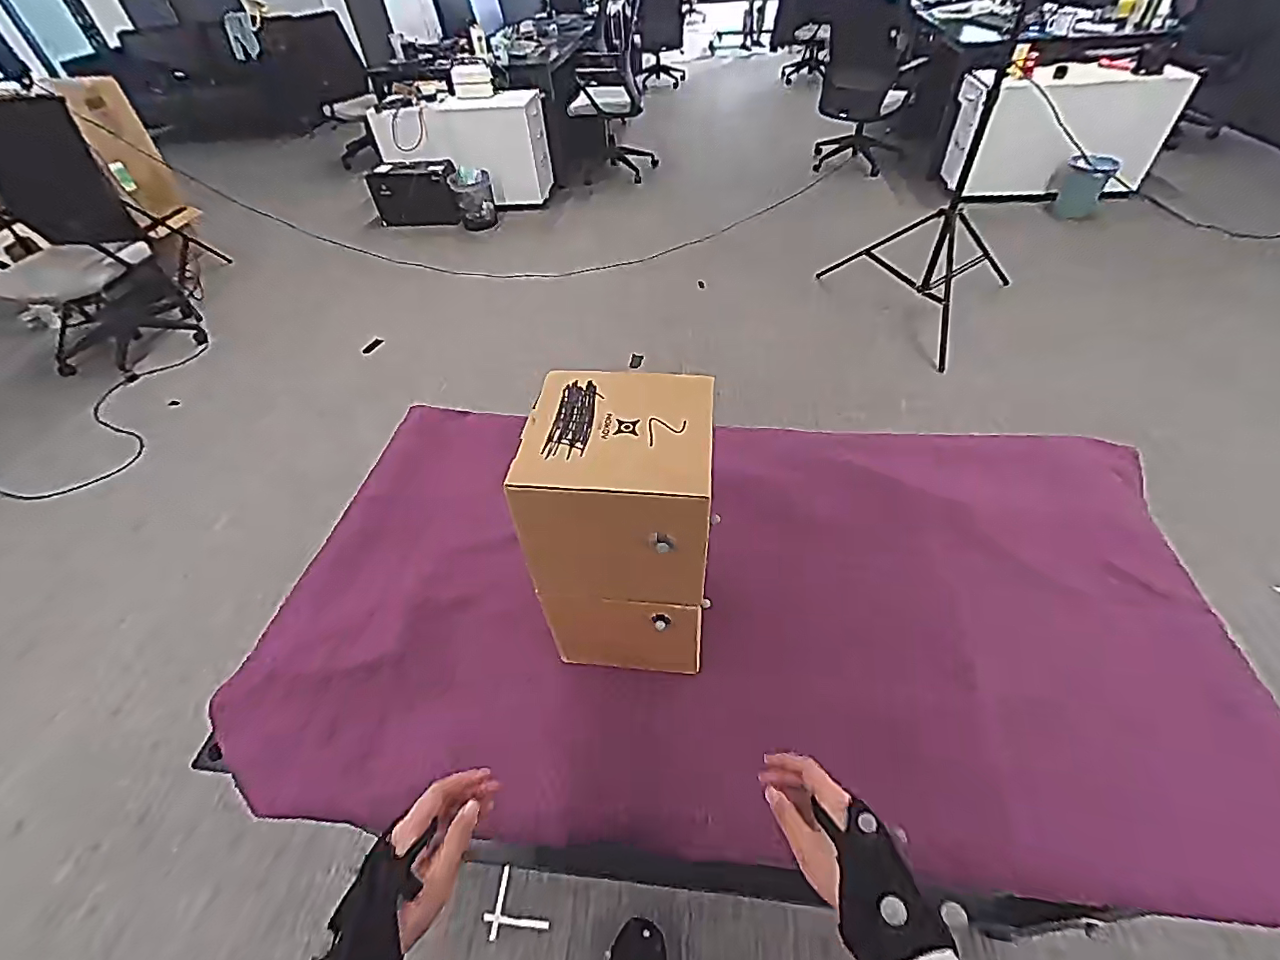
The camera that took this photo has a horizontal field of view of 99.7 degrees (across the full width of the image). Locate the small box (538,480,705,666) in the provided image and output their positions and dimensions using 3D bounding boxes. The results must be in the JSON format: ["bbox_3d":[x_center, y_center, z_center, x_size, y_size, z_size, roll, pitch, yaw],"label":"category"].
[{"bbox_3d":[-0.011,0.119,0.680,0.179,0.176,0.168,3,47,6],"label":"small box"}]
